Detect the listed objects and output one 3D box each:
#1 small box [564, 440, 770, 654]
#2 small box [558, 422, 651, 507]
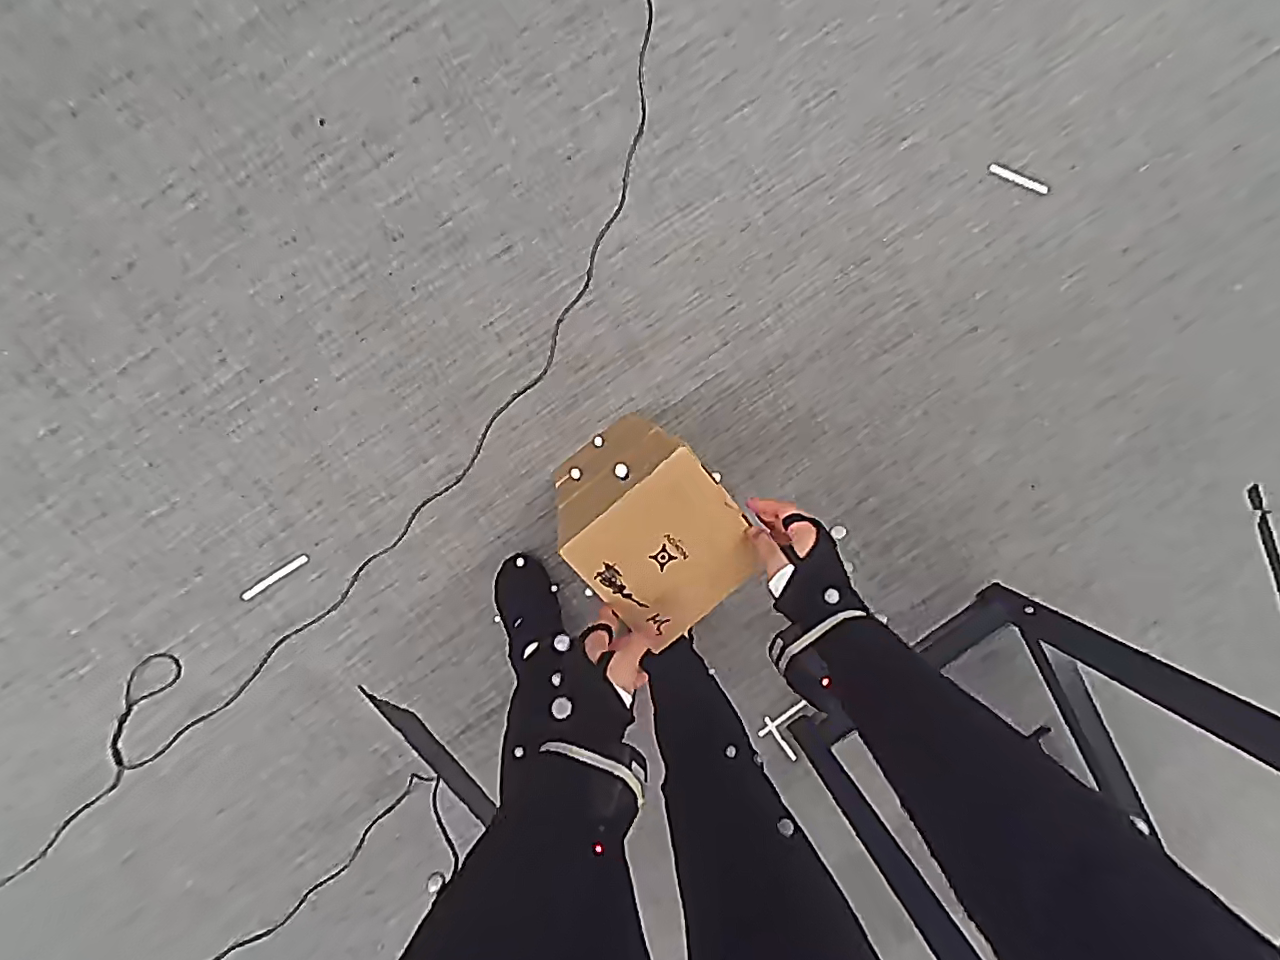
[{"bbox_3d":[0.019,0.066,0.660,0.179,0.176,0.168,-41,102,-1],"label":"small box"},{"bbox_3d":[-0.034,0.010,0.979,0.179,0.176,0.168,-38,103,0],"label":"small box"}]
